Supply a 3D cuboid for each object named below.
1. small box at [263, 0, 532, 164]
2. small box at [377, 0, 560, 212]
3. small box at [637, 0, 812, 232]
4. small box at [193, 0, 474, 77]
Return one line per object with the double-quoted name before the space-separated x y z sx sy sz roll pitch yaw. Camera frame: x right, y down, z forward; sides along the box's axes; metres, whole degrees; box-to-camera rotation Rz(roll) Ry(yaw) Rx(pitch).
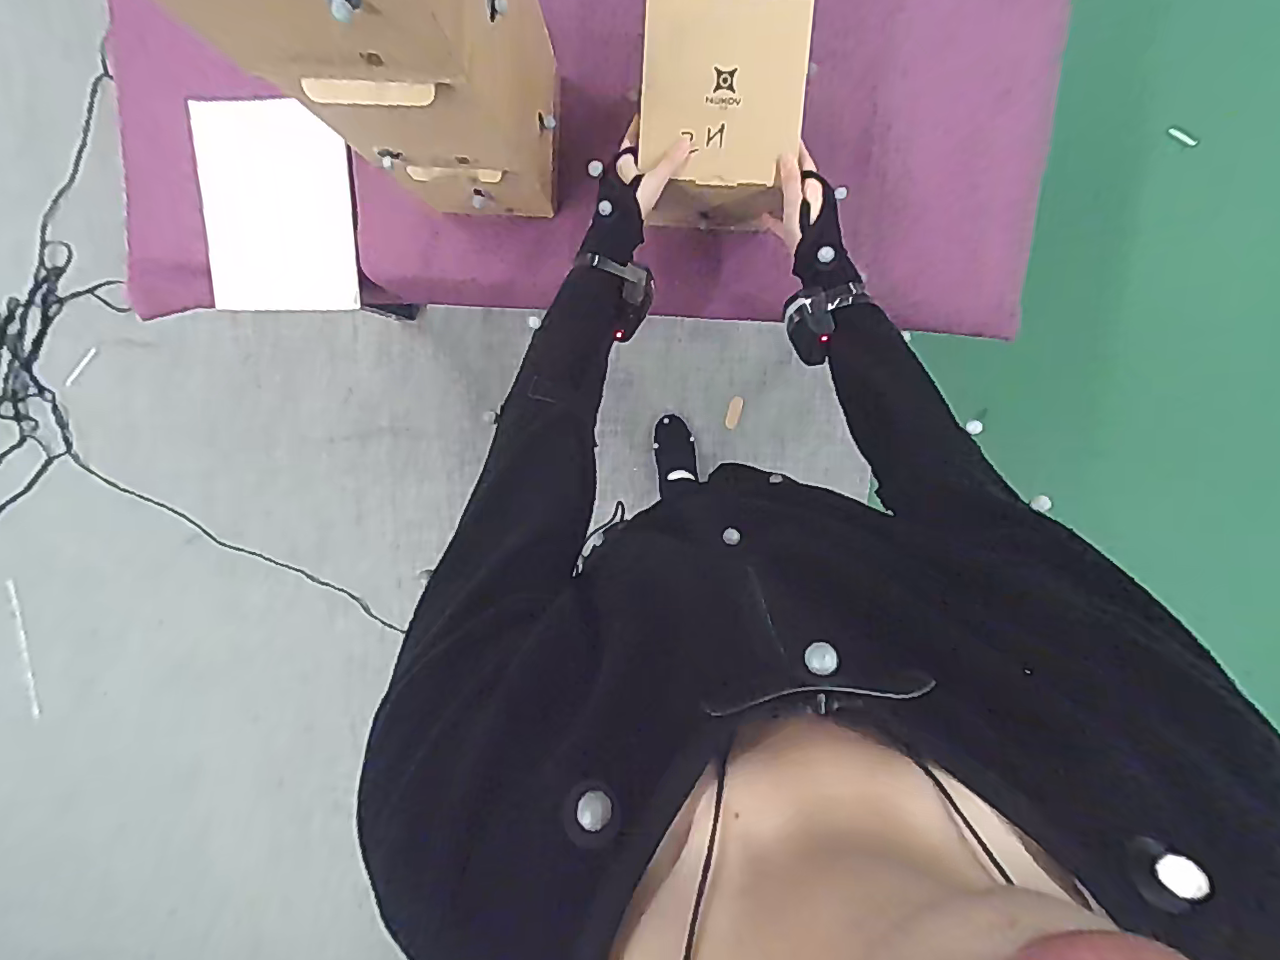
"small box" -0.195 -0.402 0.472 0.168 0.176 0.179 4 98 1
"small box" -0.190 -0.432 0.635 0.168 0.176 0.179 3 99 1
"small box" 0.086 -0.408 0.625 0.168 0.176 0.179 4 100 2
"small box" -0.201 -0.374 0.312 0.168 0.176 0.179 4 98 1
